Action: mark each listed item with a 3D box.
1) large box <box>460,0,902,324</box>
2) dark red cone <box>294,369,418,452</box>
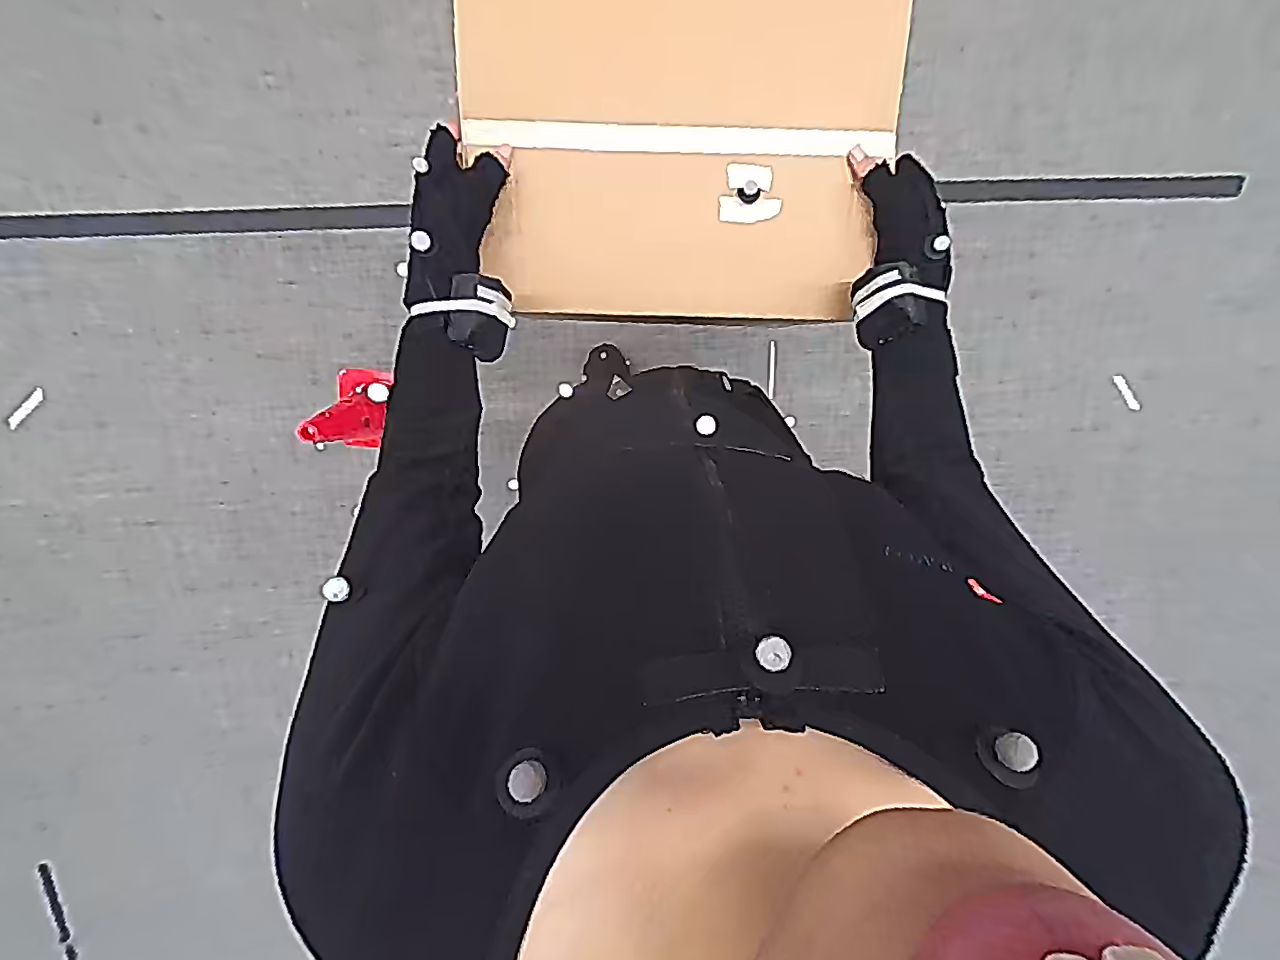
[{"bbox_3d":[0.031,-0.355,0.655,0.408,0.320,0.320,1,105,-2],"label":"large box"},{"bbox_3d":[-0.652,-0.134,1.206,0.201,0.394,0.202,3,104,-5],"label":"dark red cone"}]
